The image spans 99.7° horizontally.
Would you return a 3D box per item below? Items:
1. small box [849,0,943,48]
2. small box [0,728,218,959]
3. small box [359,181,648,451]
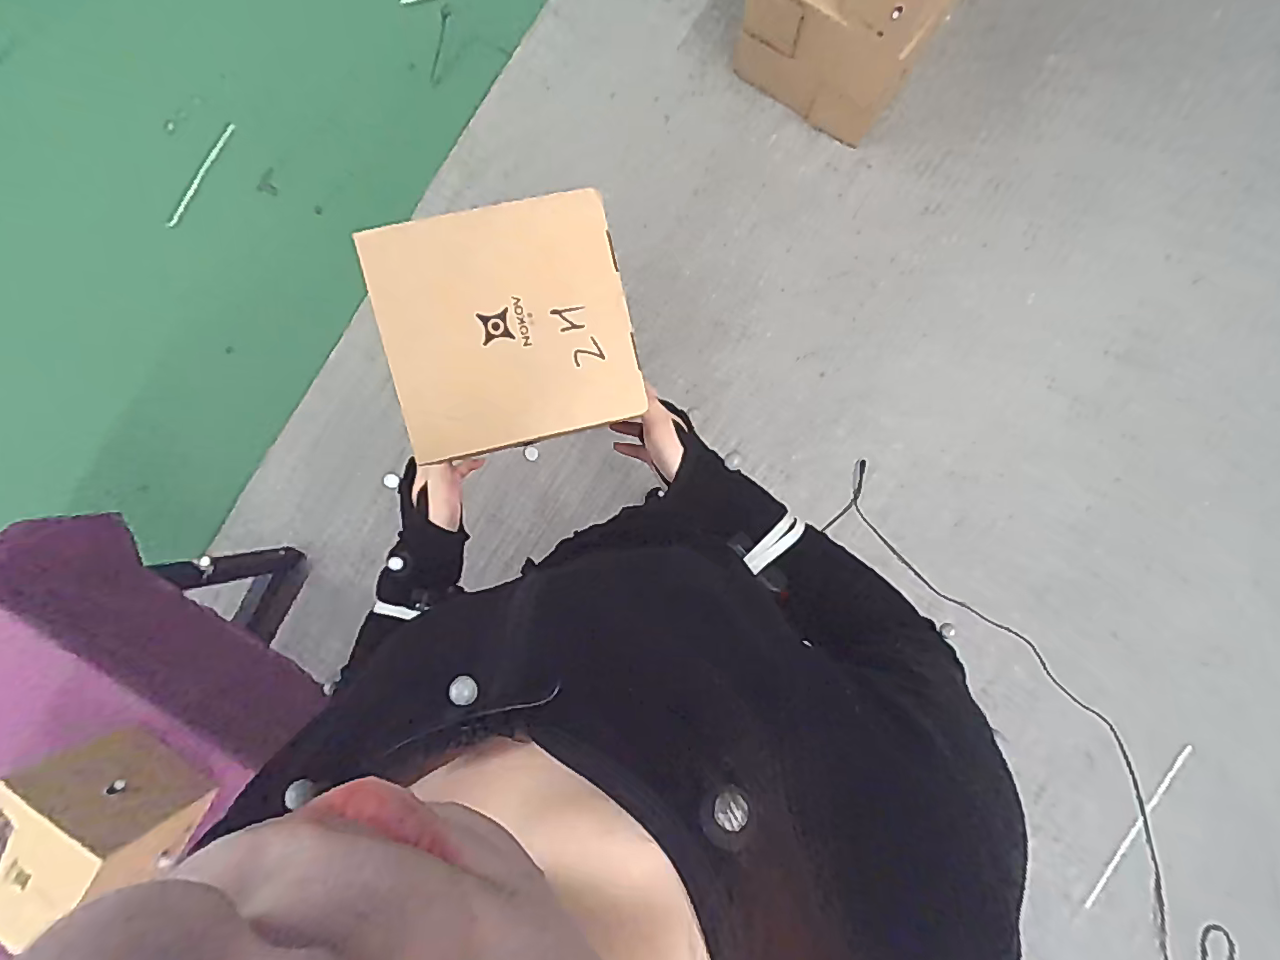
[{"bbox_3d":[0.546,-1.035,1.084,0.168,0.176,0.179,40,90,3],"label":"small box"},{"bbox_3d":[-0.752,0.476,0.744,0.179,0.176,0.168,32,92,4],"label":"small box"},{"bbox_3d":[-0.101,-0.121,0.462,0.179,0.176,0.168,-13,97,-6],"label":"small box"}]
